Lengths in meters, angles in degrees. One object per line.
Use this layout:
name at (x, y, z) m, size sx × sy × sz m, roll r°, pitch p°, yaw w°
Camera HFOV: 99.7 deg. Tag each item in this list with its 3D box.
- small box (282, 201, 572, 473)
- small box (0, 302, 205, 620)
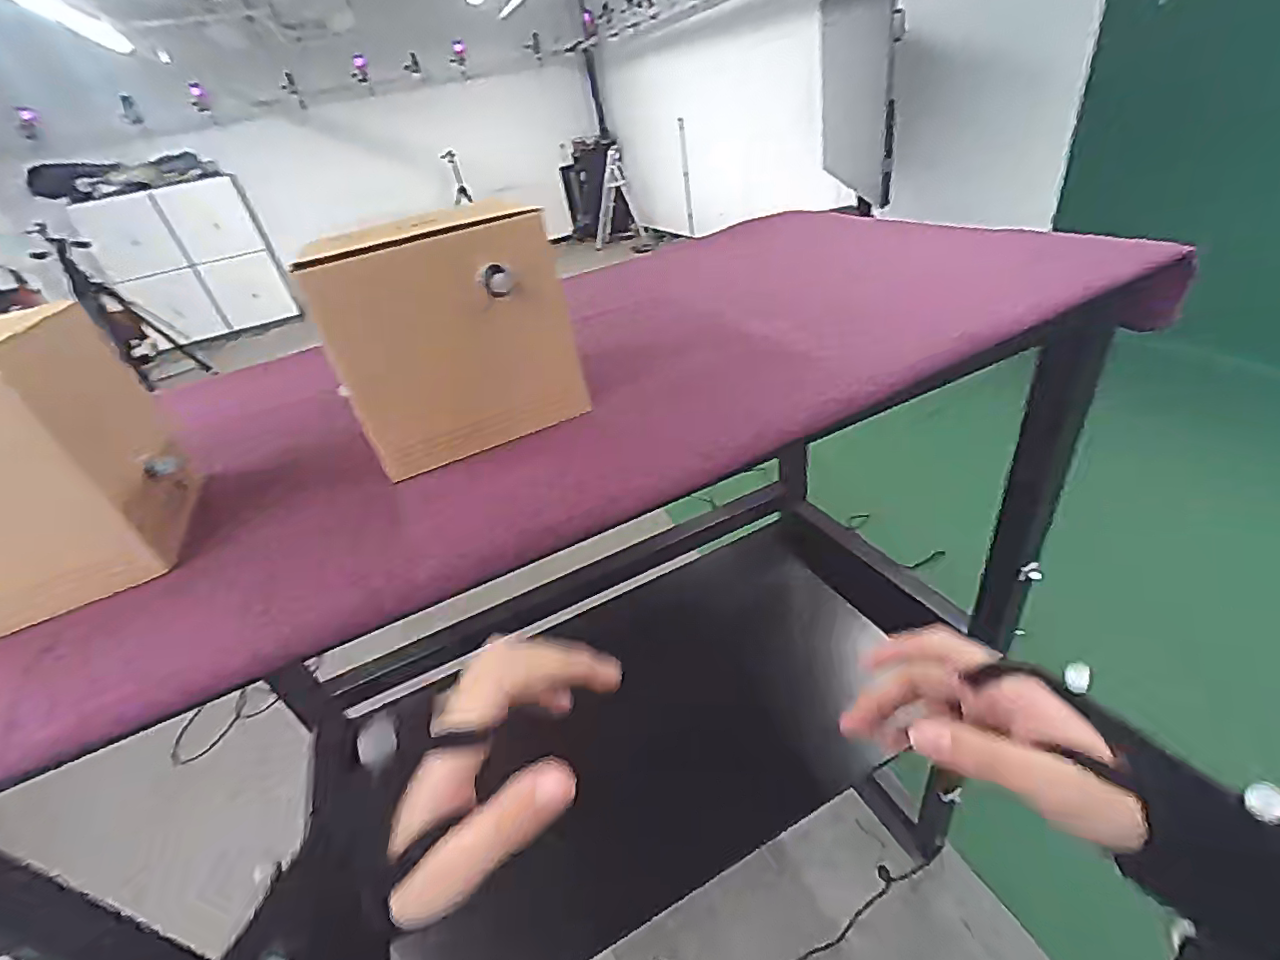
small box at (-0.170, -0.133, 0.475) m, size 0.179 × 0.176 × 0.168 m, roll -22°, pitch 34°, yaw -15°
small box at (-0.461, -0.006, 0.377) m, size 0.179 × 0.176 × 0.168 m, roll -23°, pitch 35°, yaw -19°
